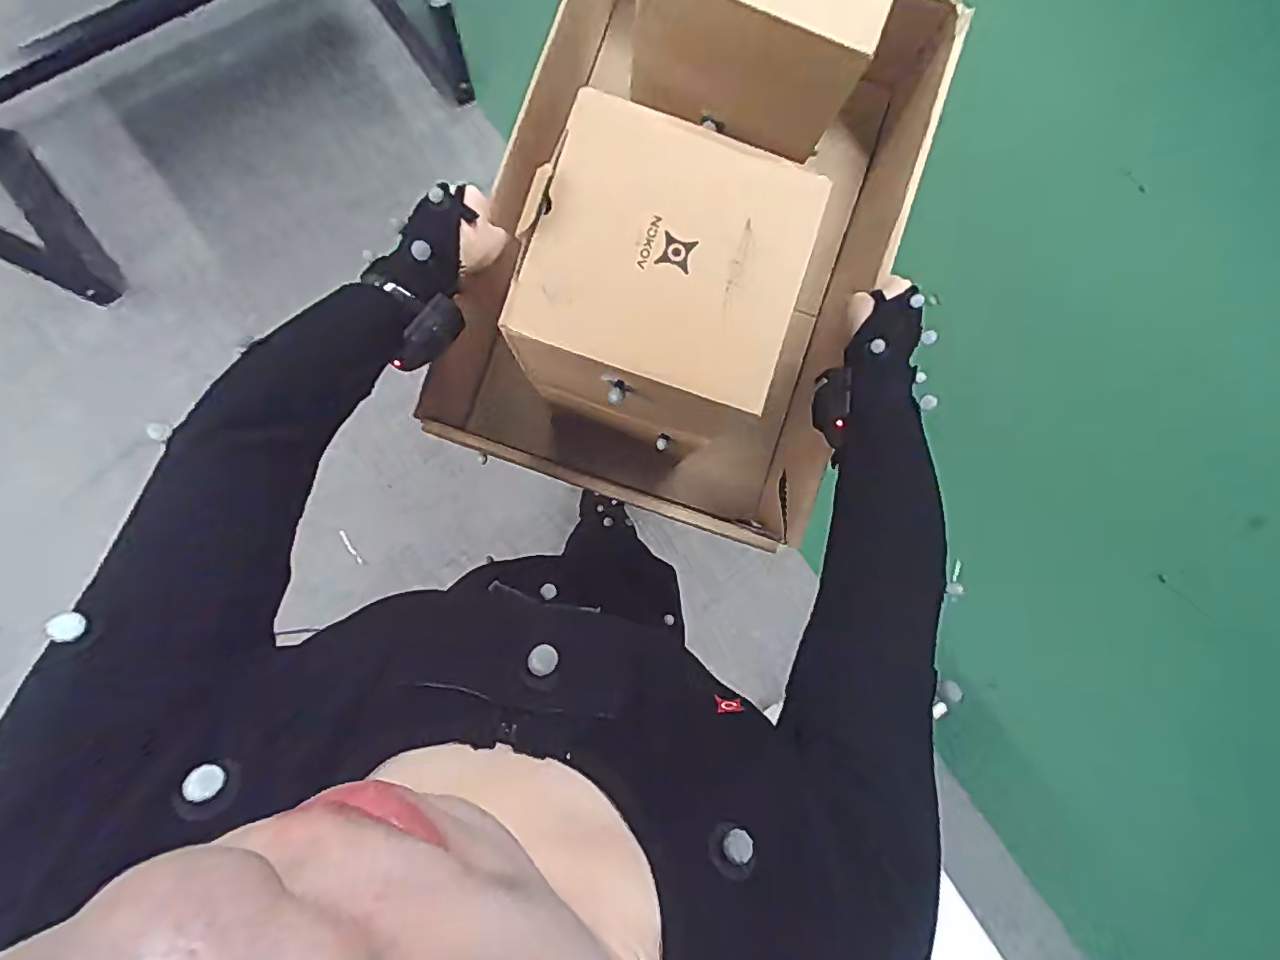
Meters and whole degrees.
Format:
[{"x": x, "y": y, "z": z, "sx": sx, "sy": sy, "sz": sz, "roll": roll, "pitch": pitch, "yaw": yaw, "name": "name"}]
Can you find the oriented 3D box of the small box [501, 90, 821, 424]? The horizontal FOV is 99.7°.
[{"x": 0.009, "y": -0.150, "z": 0.433, "sx": 0.179, "sy": 0.176, "sz": 0.168, "roll": 17, "pitch": 88, "yaw": -5, "name": "small box"}]
